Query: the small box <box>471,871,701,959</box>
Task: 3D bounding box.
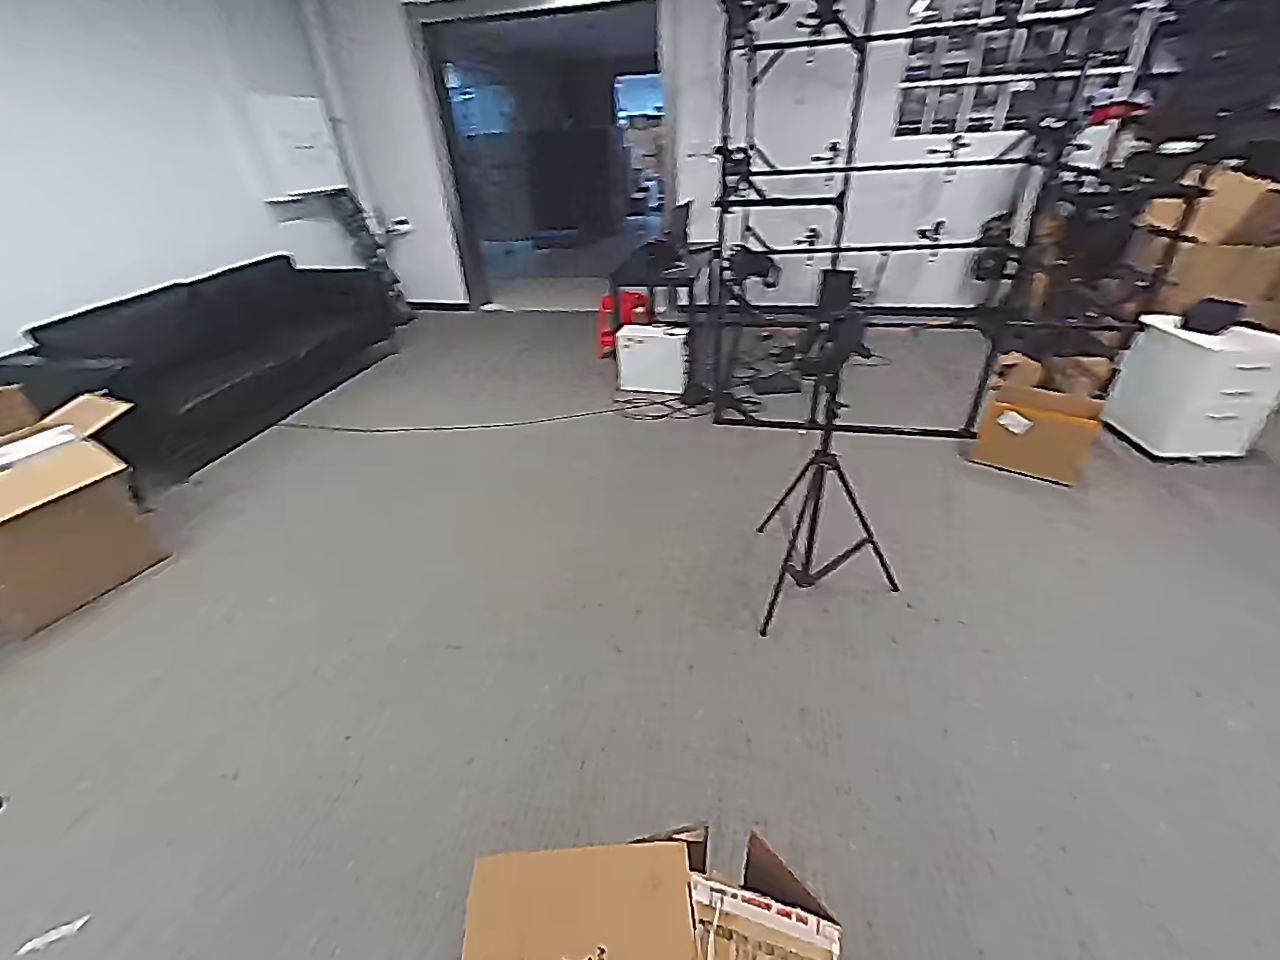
[{"bbox_3d":[-0.040,0.444,0.435,0.179,0.176,0.168,-3,38,-5],"label":"small box"}]
